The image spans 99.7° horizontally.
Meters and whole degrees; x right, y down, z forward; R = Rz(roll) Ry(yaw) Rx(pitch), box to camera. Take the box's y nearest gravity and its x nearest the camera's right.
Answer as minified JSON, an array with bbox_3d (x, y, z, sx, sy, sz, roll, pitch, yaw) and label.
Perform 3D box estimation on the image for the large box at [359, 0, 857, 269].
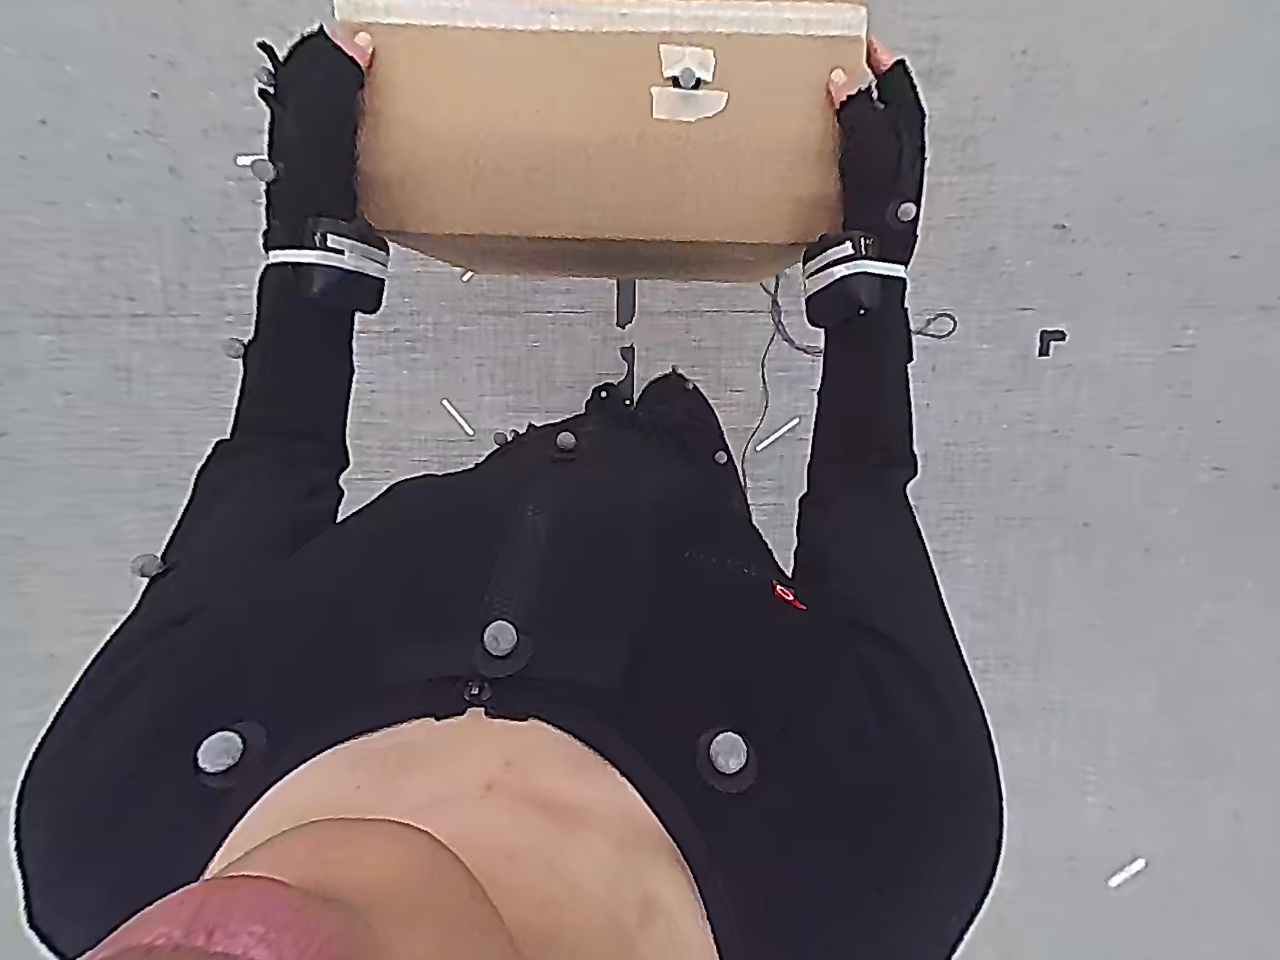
[{"bbox_3d":[-0.030,-0.405,0.574,0.408,0.320,0.320,1,106,-2],"label":"large box"}]
